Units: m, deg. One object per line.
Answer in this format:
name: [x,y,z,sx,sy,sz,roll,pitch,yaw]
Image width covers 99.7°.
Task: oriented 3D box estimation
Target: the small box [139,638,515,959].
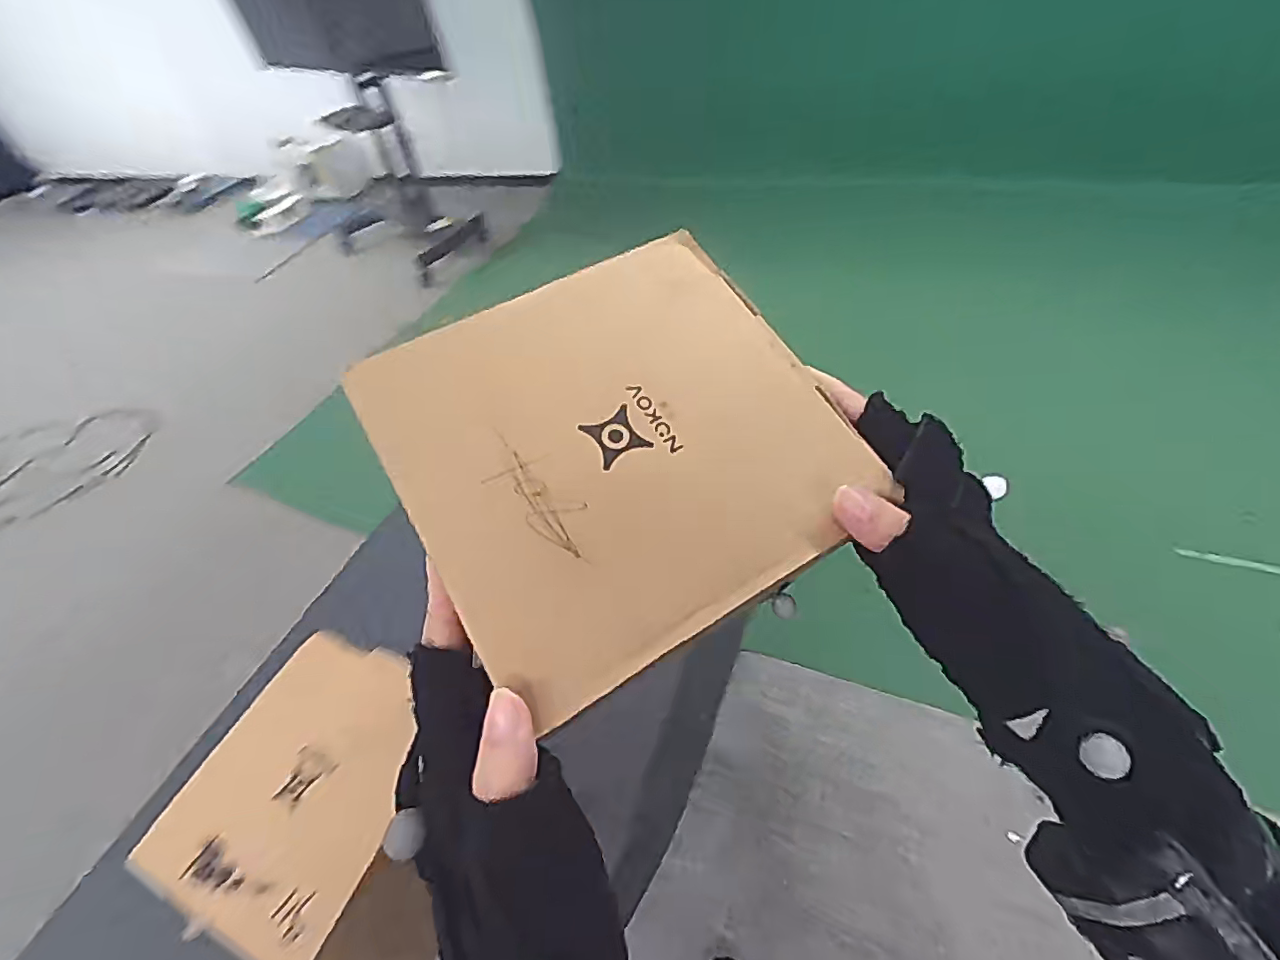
small box: [-0.221,0.264,0.443,0.168,0.176,0.179,11,52,18]
